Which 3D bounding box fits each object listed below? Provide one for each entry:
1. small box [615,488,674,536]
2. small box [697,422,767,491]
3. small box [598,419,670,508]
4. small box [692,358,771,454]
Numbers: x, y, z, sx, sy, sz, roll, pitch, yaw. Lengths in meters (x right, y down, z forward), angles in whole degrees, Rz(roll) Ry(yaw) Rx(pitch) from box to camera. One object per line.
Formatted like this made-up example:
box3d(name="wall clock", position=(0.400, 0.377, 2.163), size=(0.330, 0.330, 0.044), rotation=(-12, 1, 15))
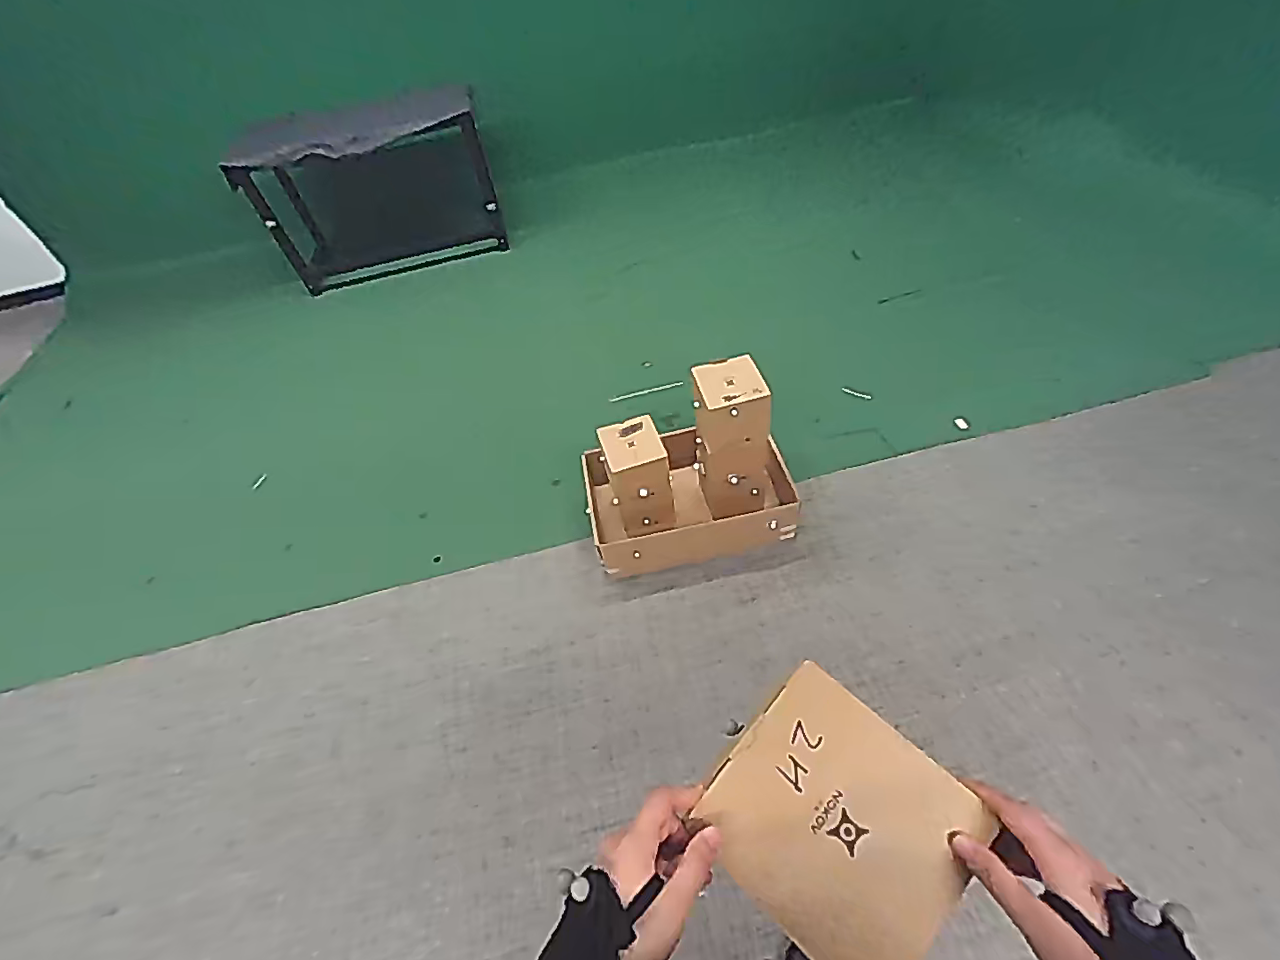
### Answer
box3d(name="small box", position=(0.006, 0.049, 1.727), size=(0.168, 0.176, 0.179), rotation=(-15, 50, -5))
box3d(name="small box", position=(0.265, -0.094, 1.589), size=(0.168, 0.176, 0.179), rotation=(-12, 51, 1))
box3d(name="small box", position=(-0.017, -0.046, 1.593), size=(0.168, 0.176, 0.179), rotation=(-17, 51, -6))
box3d(name="small box", position=(0.243, -0.198, 1.463), size=(0.168, 0.176, 0.179), rotation=(-14, 49, -1))
